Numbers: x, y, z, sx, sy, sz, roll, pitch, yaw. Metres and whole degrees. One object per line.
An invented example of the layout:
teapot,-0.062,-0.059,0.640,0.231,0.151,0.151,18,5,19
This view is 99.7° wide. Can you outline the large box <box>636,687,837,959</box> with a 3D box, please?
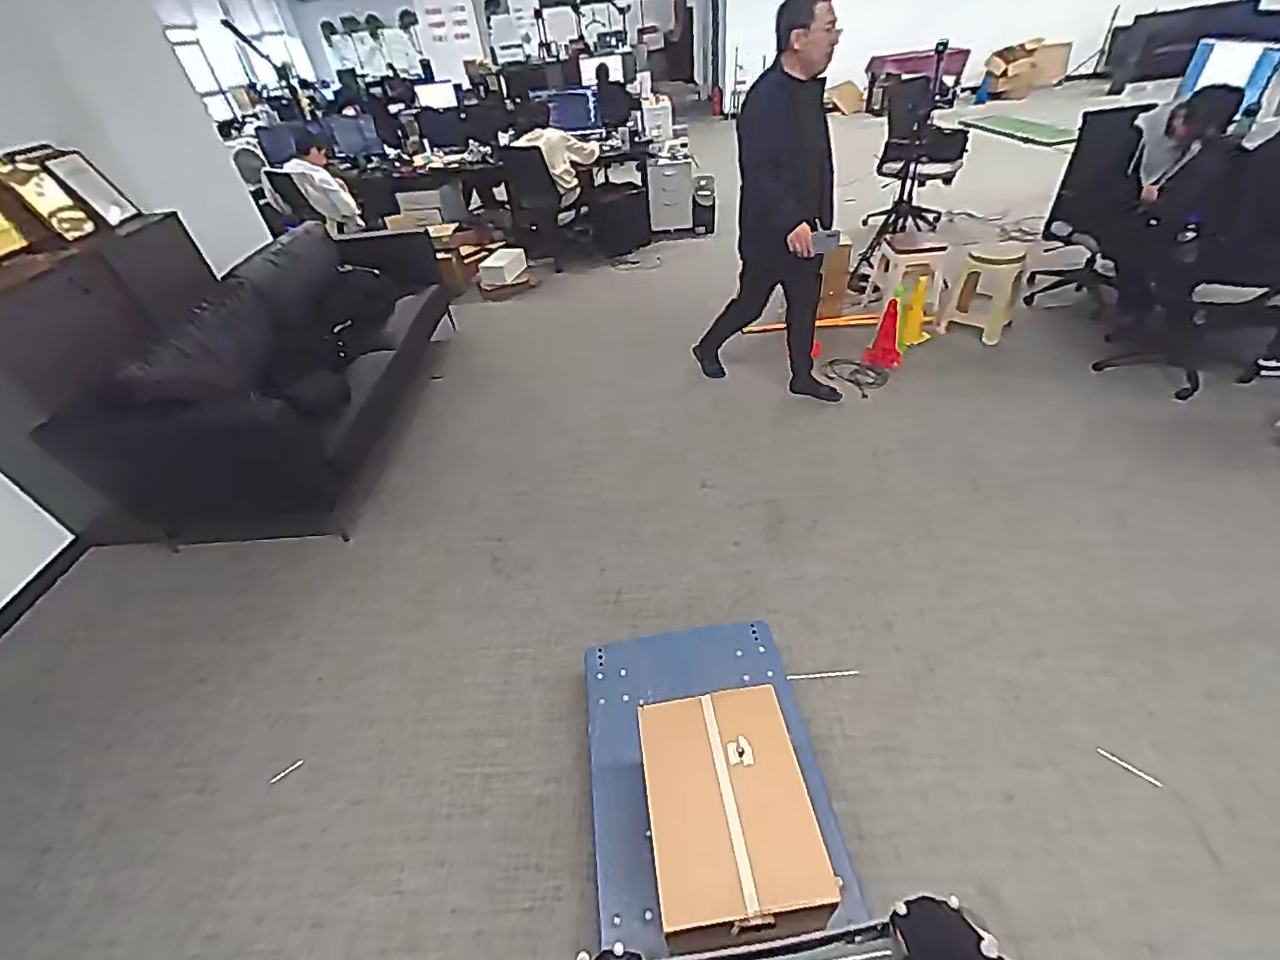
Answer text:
large box,0.185,0.736,1.174,0.320,0.320,0.408,-9,40,-2
